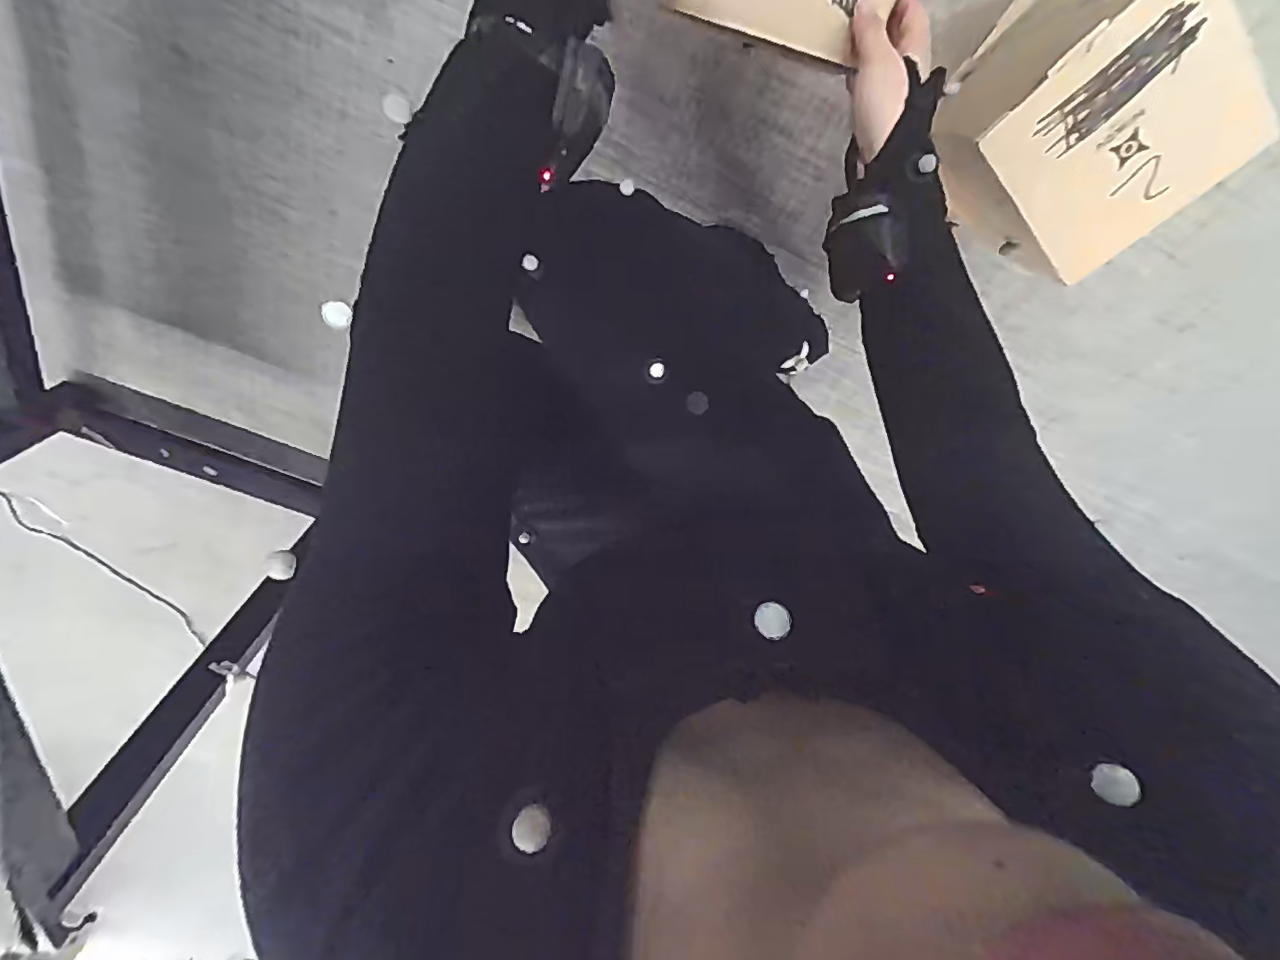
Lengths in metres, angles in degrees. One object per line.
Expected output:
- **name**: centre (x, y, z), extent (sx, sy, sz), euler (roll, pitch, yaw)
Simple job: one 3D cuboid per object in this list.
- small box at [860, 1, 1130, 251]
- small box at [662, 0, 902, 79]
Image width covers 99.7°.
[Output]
- **small box**: centre (0.398, -0.410, 0.638), extent (0.179, 0.176, 0.168), euler (29, 123, -16)
- **small box**: centre (0.128, -0.453, 0.439), extent (0.179, 0.176, 0.168), euler (15, 128, -3)
